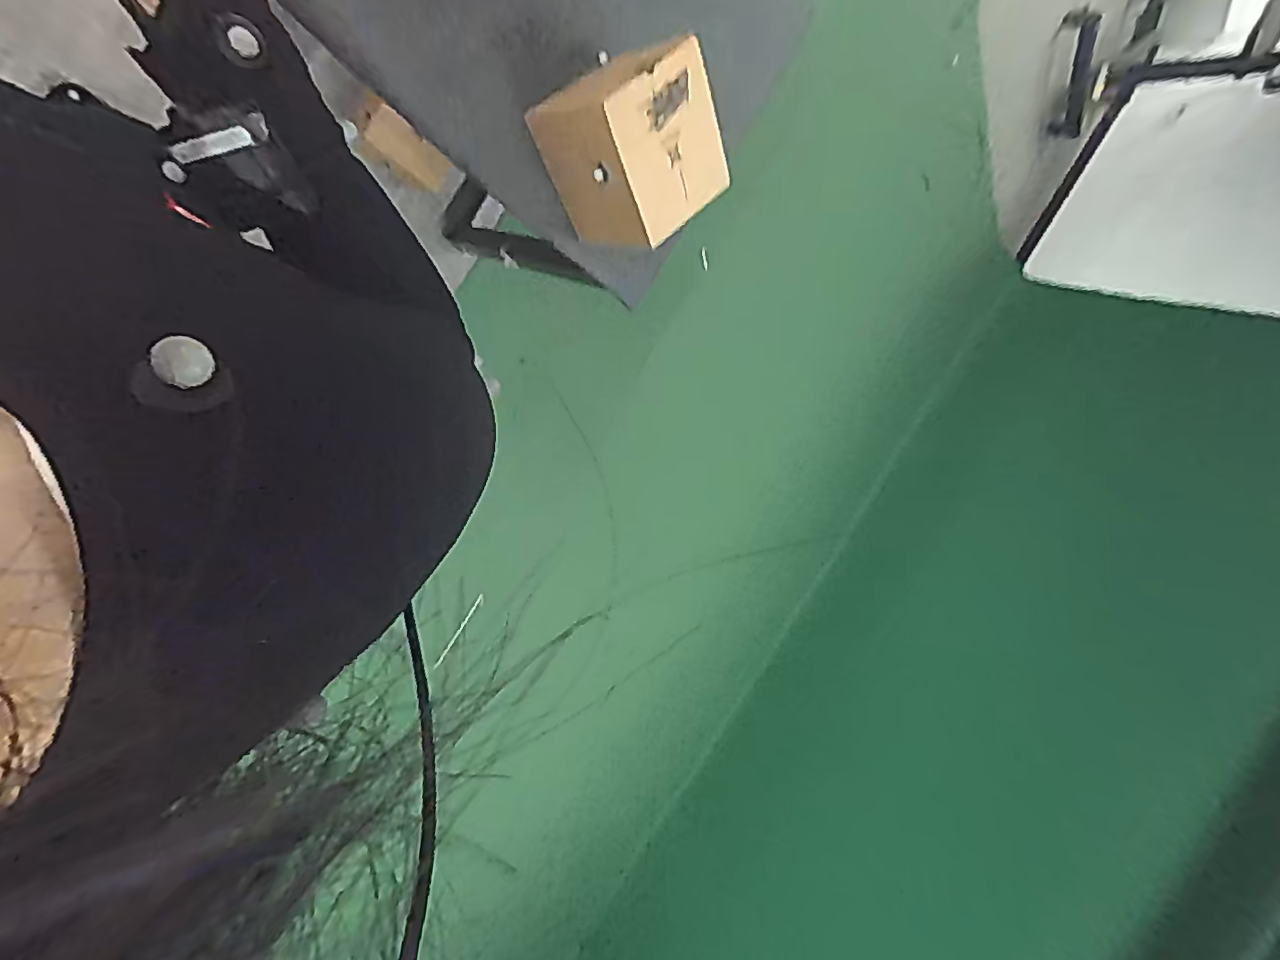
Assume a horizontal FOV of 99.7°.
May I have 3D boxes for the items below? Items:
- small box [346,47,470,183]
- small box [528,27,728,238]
[{"bbox_3d":[-0.502,-0.771,1.158,0.168,0.176,0.179,24,97,-49],"label":"small box"},{"bbox_3d":[-0.016,-0.446,0.715,0.168,0.176,0.179,-45,136,-16],"label":"small box"}]
